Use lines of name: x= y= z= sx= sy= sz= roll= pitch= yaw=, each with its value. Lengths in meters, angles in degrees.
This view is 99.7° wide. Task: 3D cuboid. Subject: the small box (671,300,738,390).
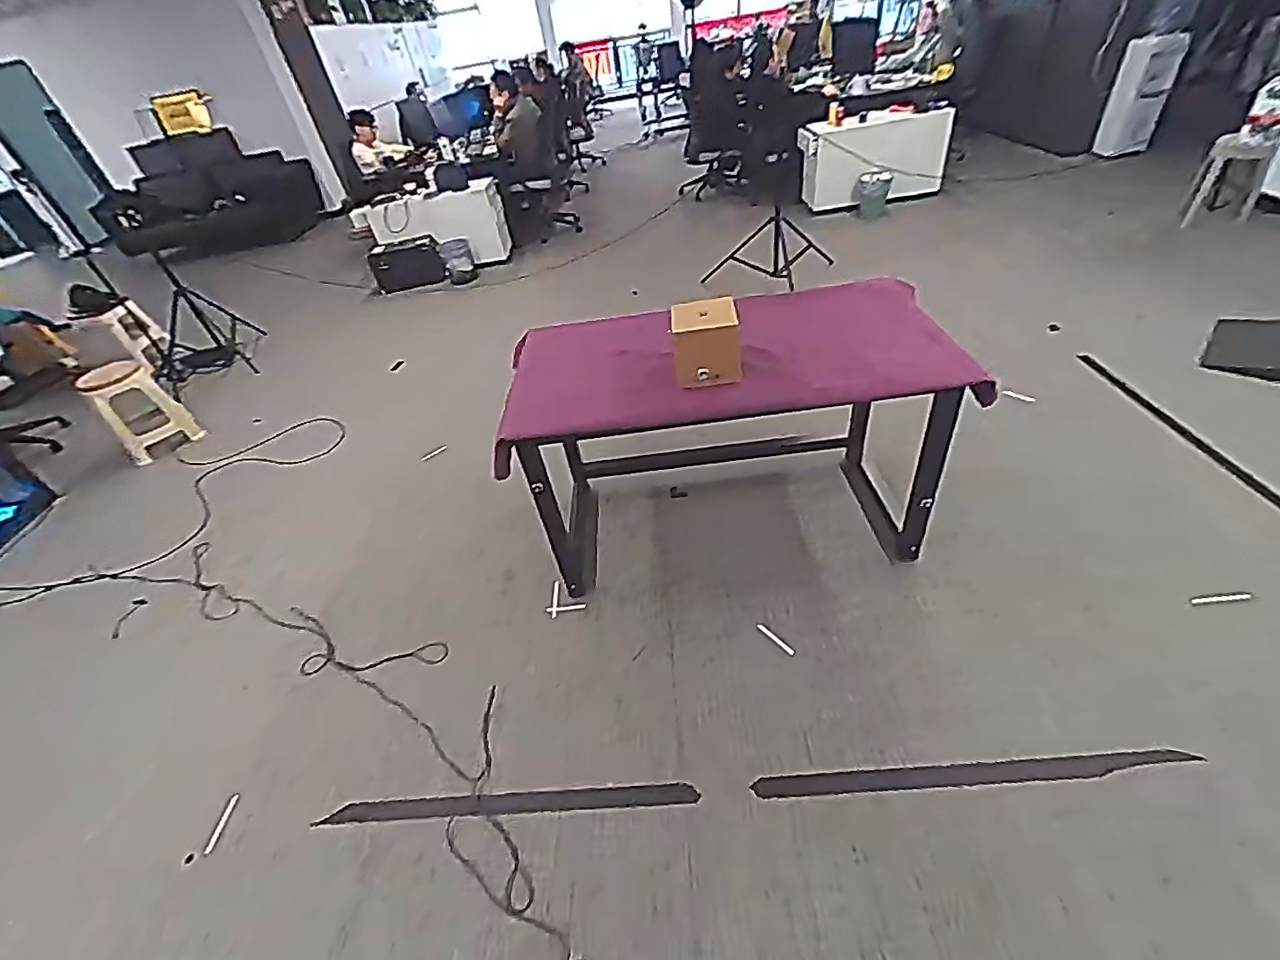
small box: x=0.171 y=-0.360 z=1.447 sx=0.168 sy=0.176 sz=0.179 roll=-6 pitch=40 yaw=6
